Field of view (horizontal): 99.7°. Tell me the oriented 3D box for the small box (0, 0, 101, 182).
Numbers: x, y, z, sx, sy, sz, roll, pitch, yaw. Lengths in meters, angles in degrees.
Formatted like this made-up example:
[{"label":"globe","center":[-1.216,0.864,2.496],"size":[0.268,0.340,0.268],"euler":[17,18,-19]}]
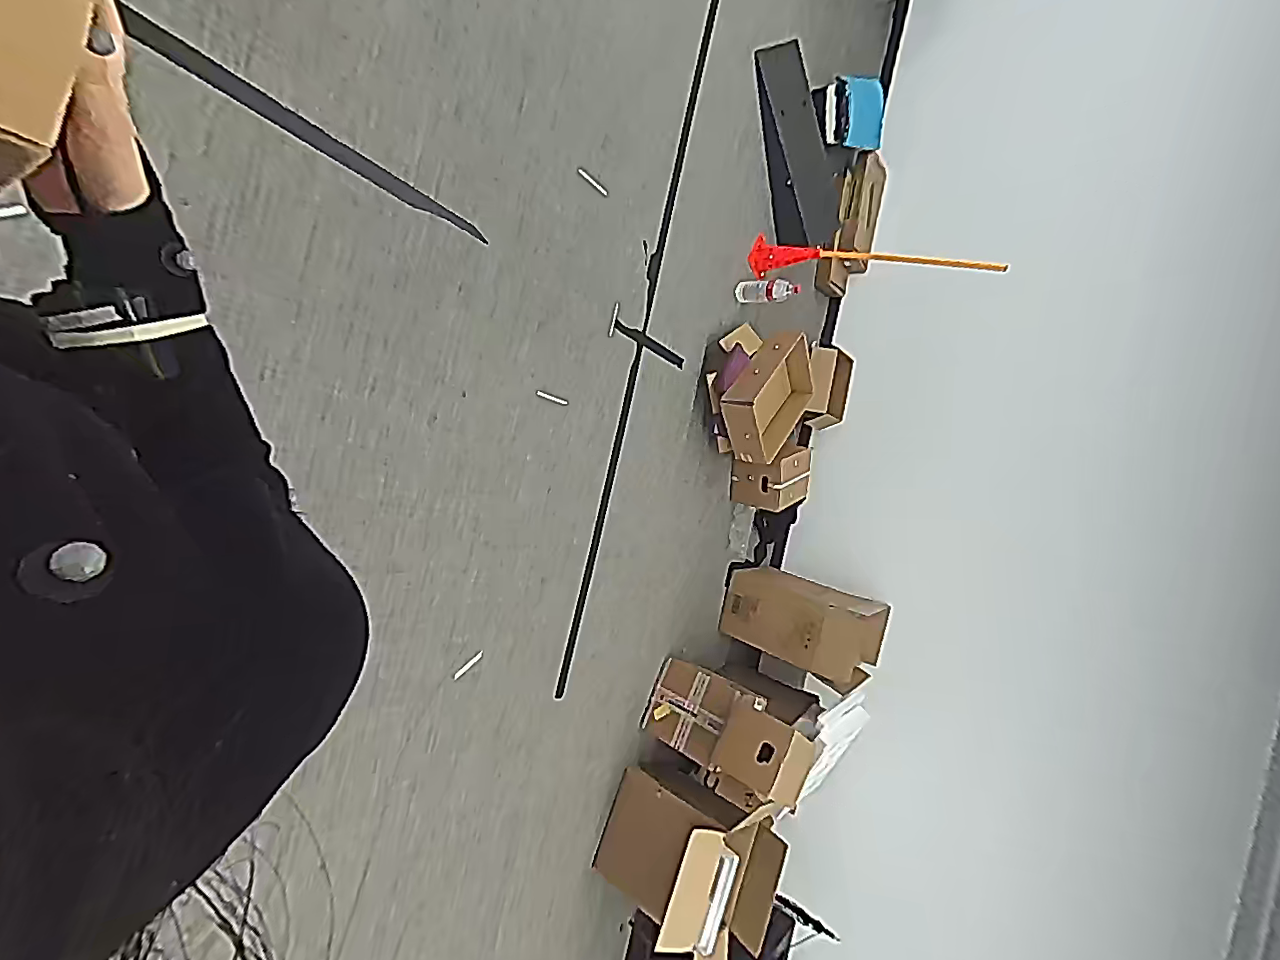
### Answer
[{"label":"small box","center":[-0.335,-0.241,0.206],"size":[0.168,0.176,0.179],"euler":[19,82,-58]}]
